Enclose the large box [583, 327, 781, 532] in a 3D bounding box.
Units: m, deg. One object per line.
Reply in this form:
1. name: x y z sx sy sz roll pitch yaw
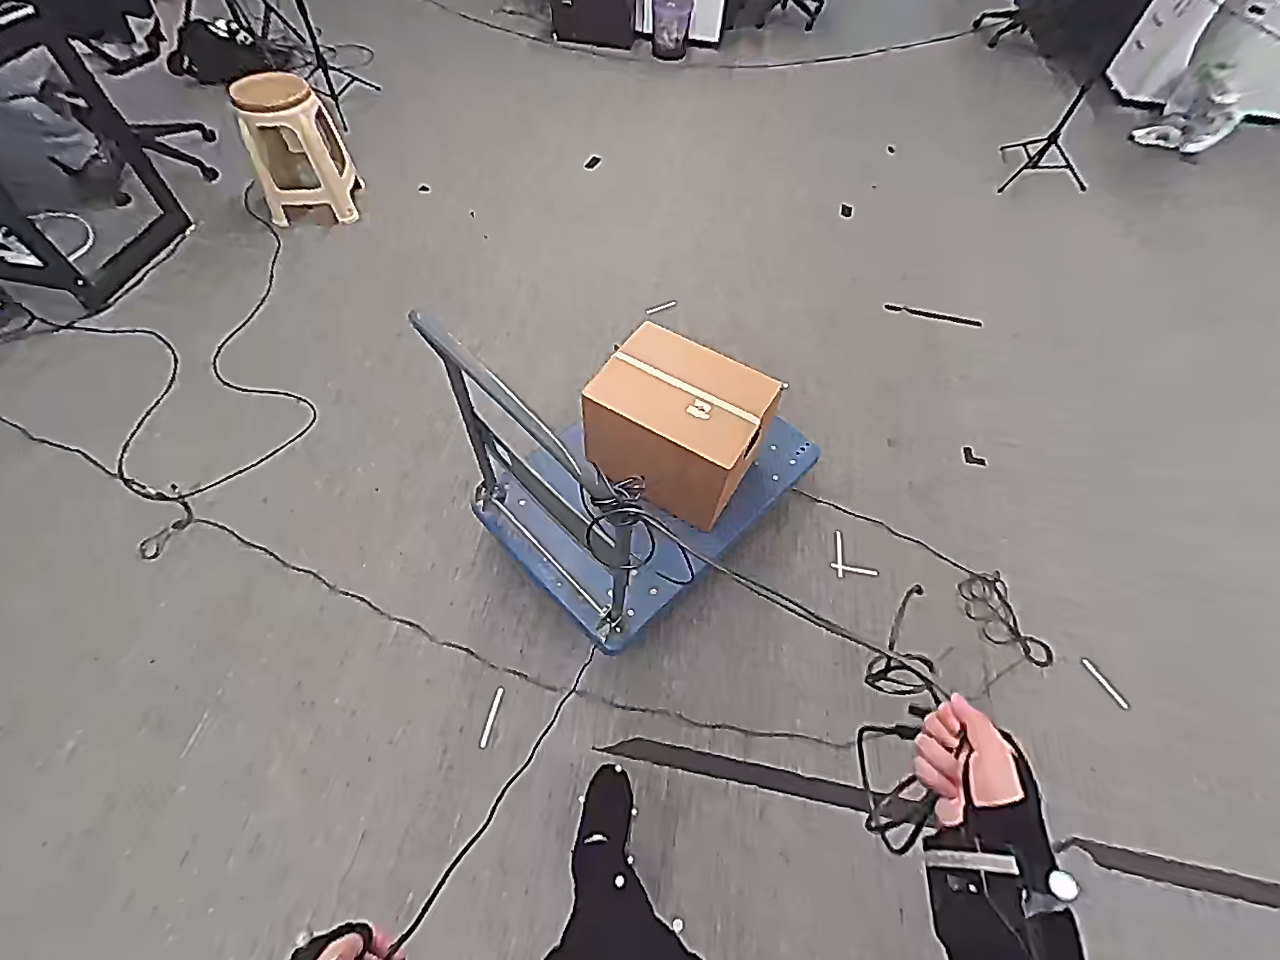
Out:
1. large box: 0.095 -0.131 1.438 0.408 0.320 0.320 29 60 13
